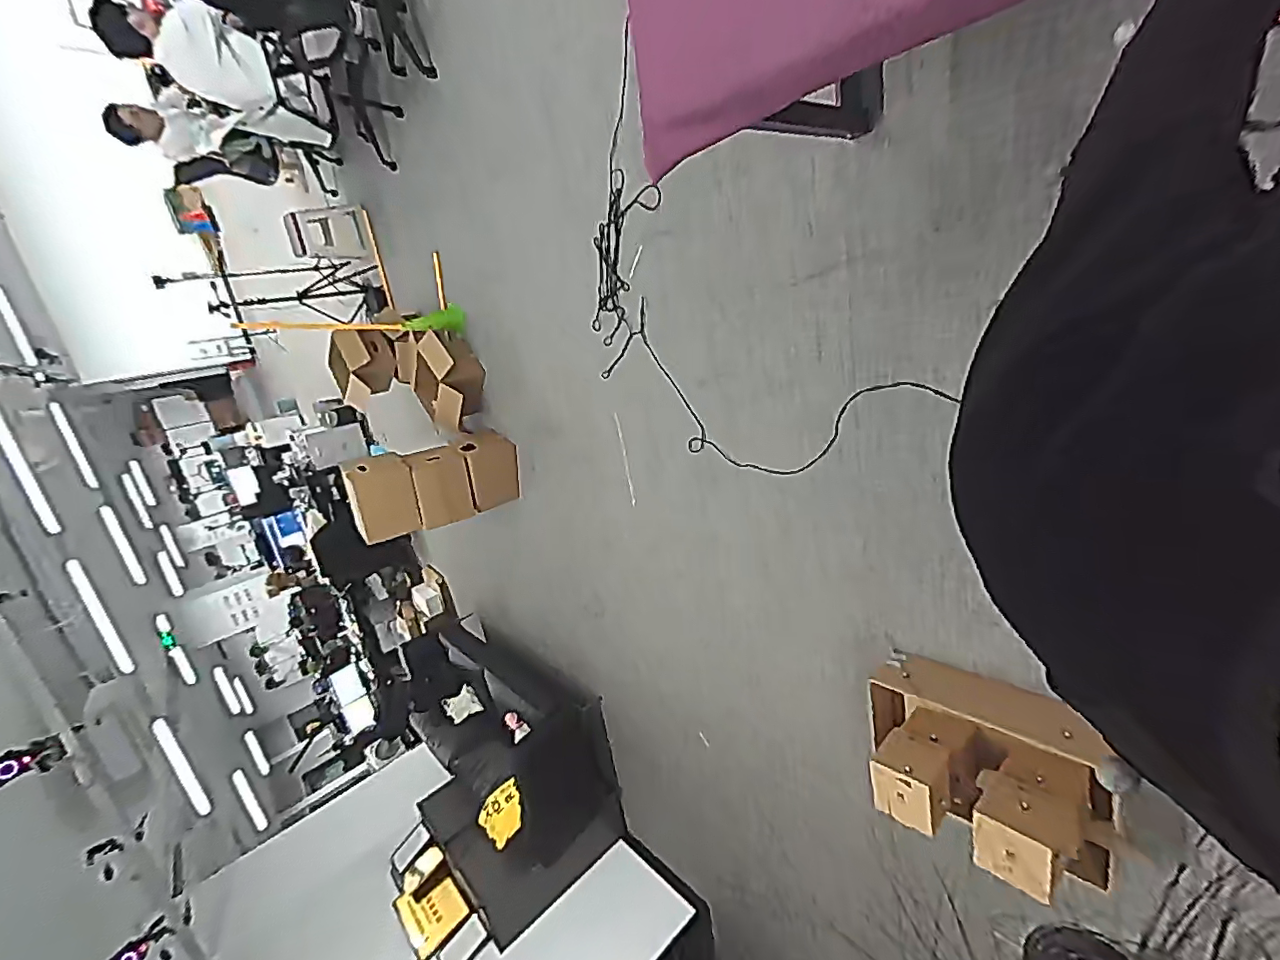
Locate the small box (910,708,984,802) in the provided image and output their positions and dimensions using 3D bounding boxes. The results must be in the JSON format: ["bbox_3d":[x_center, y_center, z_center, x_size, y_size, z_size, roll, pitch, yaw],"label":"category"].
[{"bbox_3d":[0.935,0.833,1.662,0.179,0.176,0.168,1,108,52],"label":"small box"}]

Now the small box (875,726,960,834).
[{"bbox_3d":[0.806,0.859,1.564,0.168,0.176,0.179,6,113,49],"label":"small box"}]

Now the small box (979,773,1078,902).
[{"bbox_3d":[0.978,0.887,1.363,0.168,0.176,0.179,9,114,50],"label":"small box"}]

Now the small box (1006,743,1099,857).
[{"bbox_3d":[1.108,0.847,1.454,0.179,0.176,0.168,3,110,52],"label":"small box"}]
